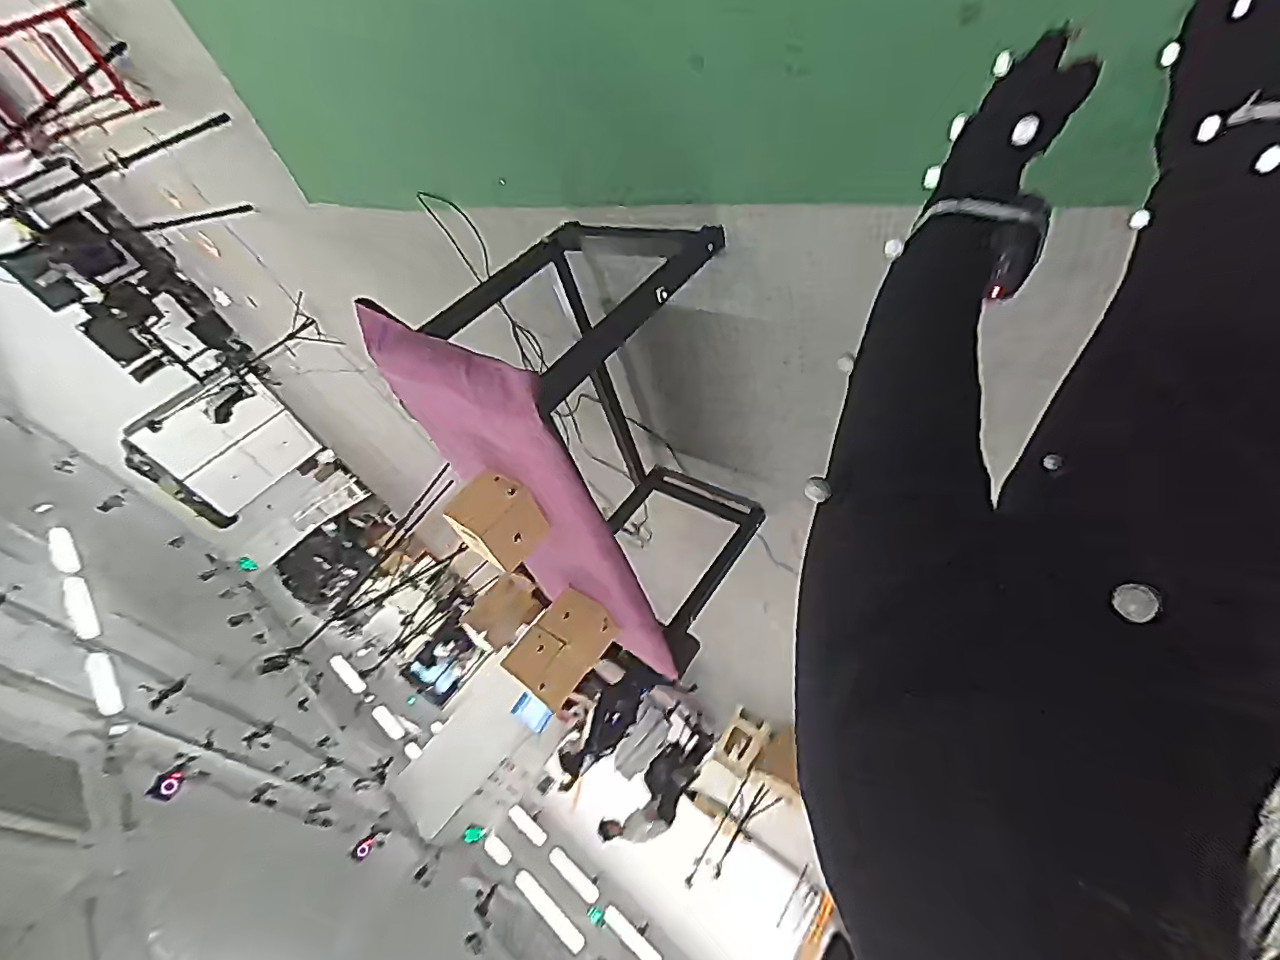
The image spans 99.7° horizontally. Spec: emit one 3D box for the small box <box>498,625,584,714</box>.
[{"bbox_3d":[-0.307,0.598,1.721,0.168,0.176,0.179,16,144,42],"label":"small box"}]

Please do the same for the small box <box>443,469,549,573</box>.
[{"bbox_3d":[-0.365,0.100,1.399,0.168,0.176,0.179,29,152,31],"label":"small box"}]
